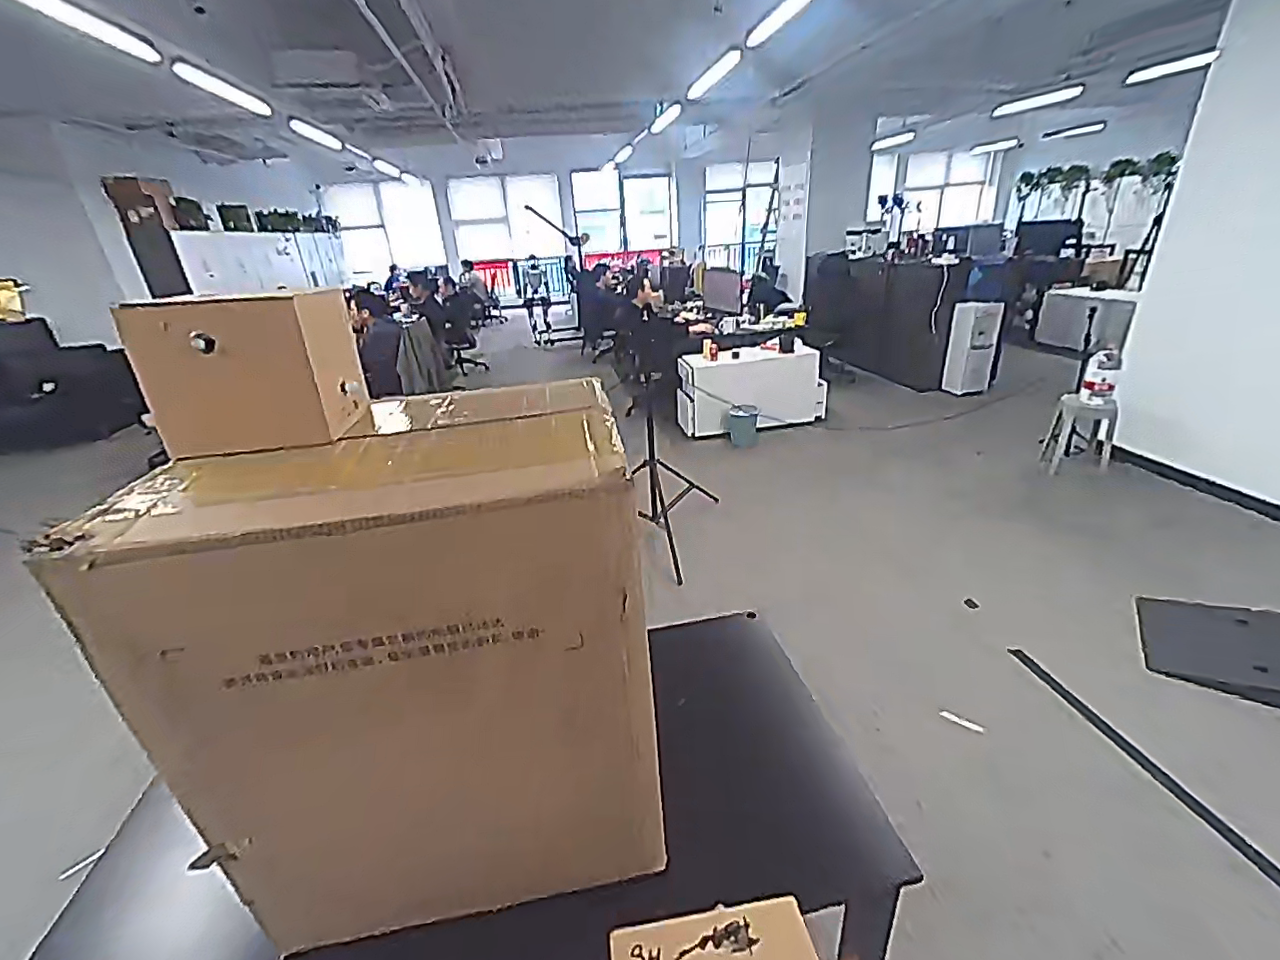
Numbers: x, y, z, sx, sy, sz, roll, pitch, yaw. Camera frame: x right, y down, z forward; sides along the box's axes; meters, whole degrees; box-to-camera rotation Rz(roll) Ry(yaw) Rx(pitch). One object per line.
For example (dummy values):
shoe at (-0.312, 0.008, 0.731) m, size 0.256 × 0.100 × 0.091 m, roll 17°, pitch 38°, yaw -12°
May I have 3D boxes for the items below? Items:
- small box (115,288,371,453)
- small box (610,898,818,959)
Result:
small box at (-0.459, -0.138, 0.663) m, size 0.179 × 0.176 × 0.168 m, roll -6°, pitch 23°, yaw -8°
small box at (0.071, 0.478, 0.415) m, size 0.168 × 0.176 × 0.179 m, roll -6°, pitch 23°, yaw -7°
